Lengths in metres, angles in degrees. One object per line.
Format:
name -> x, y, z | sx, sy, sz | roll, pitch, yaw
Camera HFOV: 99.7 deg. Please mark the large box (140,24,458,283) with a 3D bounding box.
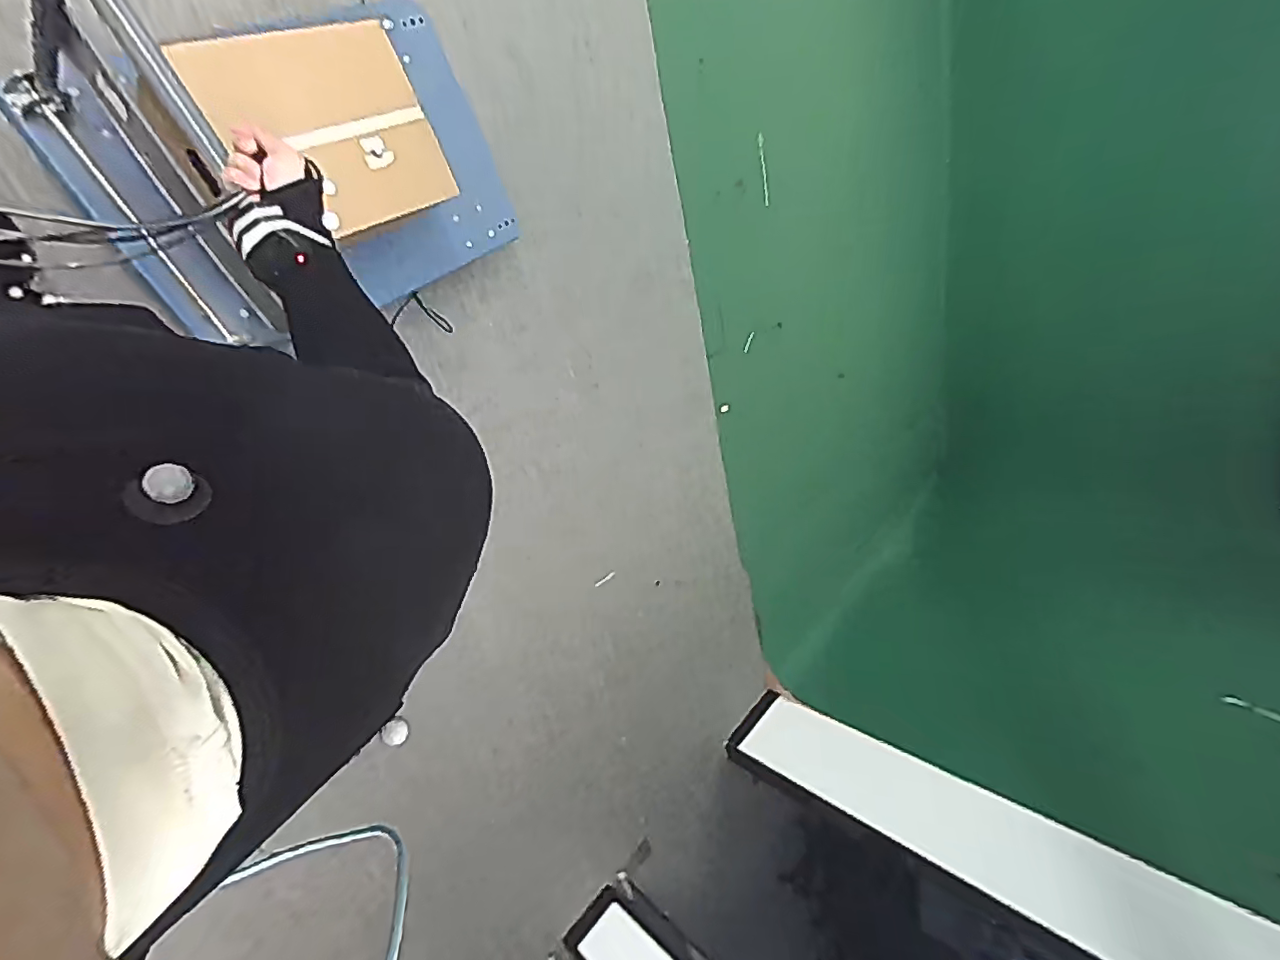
large box -> -0.665, -0.636, 1.085 | 0.408, 0.320, 0.320 | -42, 125, -32
